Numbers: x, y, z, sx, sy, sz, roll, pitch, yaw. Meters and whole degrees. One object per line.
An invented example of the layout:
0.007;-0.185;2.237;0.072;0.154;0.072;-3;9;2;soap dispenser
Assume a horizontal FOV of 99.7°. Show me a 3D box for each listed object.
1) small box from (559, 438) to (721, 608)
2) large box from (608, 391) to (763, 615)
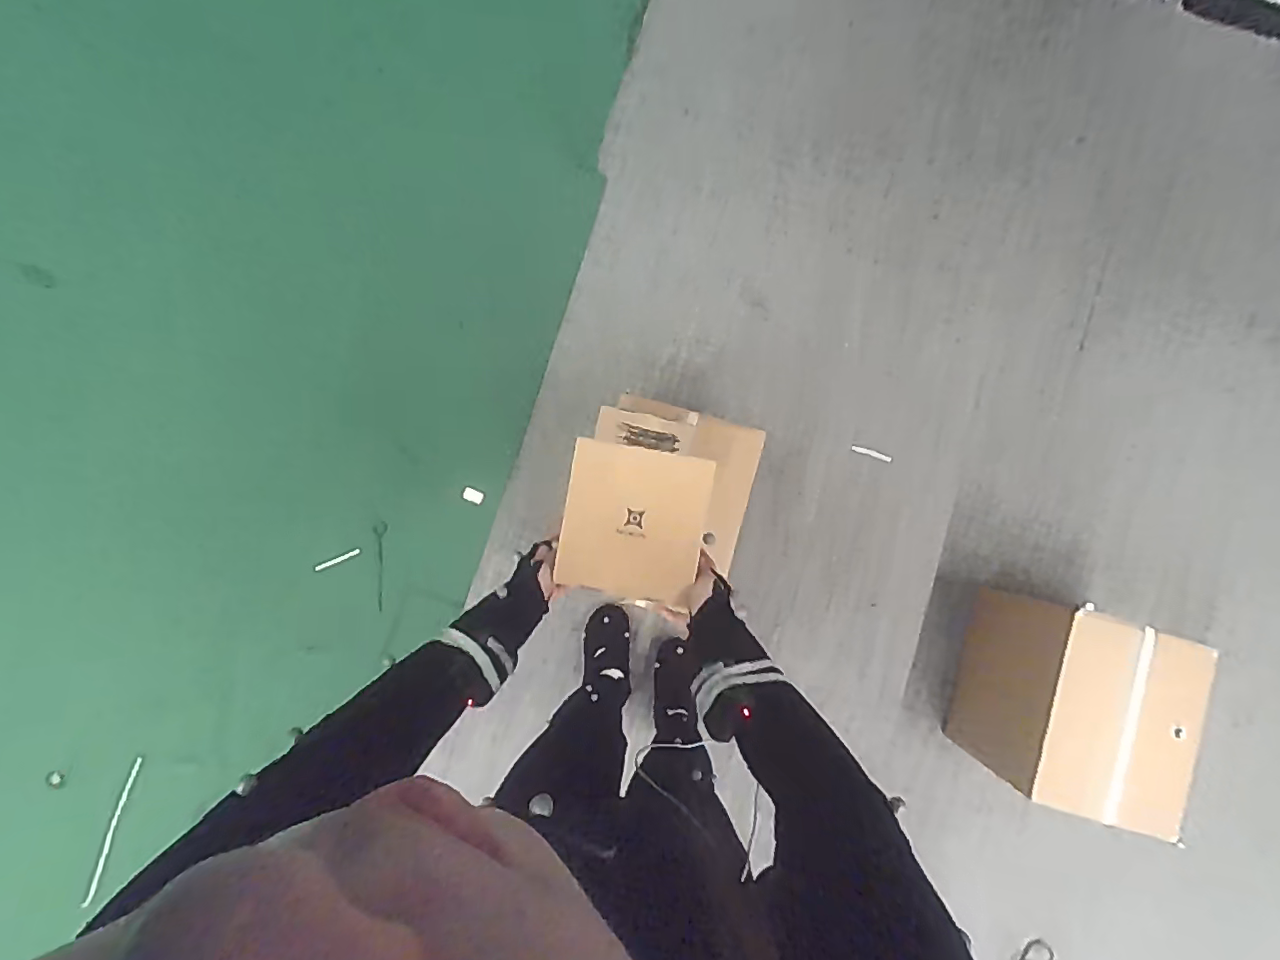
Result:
0.003;0.047;0.704;0.168;0.176;0.179;10;93;3;small box
0.058;0.055;1.252;0.320;0.320;0.408;16;87;0;large box
